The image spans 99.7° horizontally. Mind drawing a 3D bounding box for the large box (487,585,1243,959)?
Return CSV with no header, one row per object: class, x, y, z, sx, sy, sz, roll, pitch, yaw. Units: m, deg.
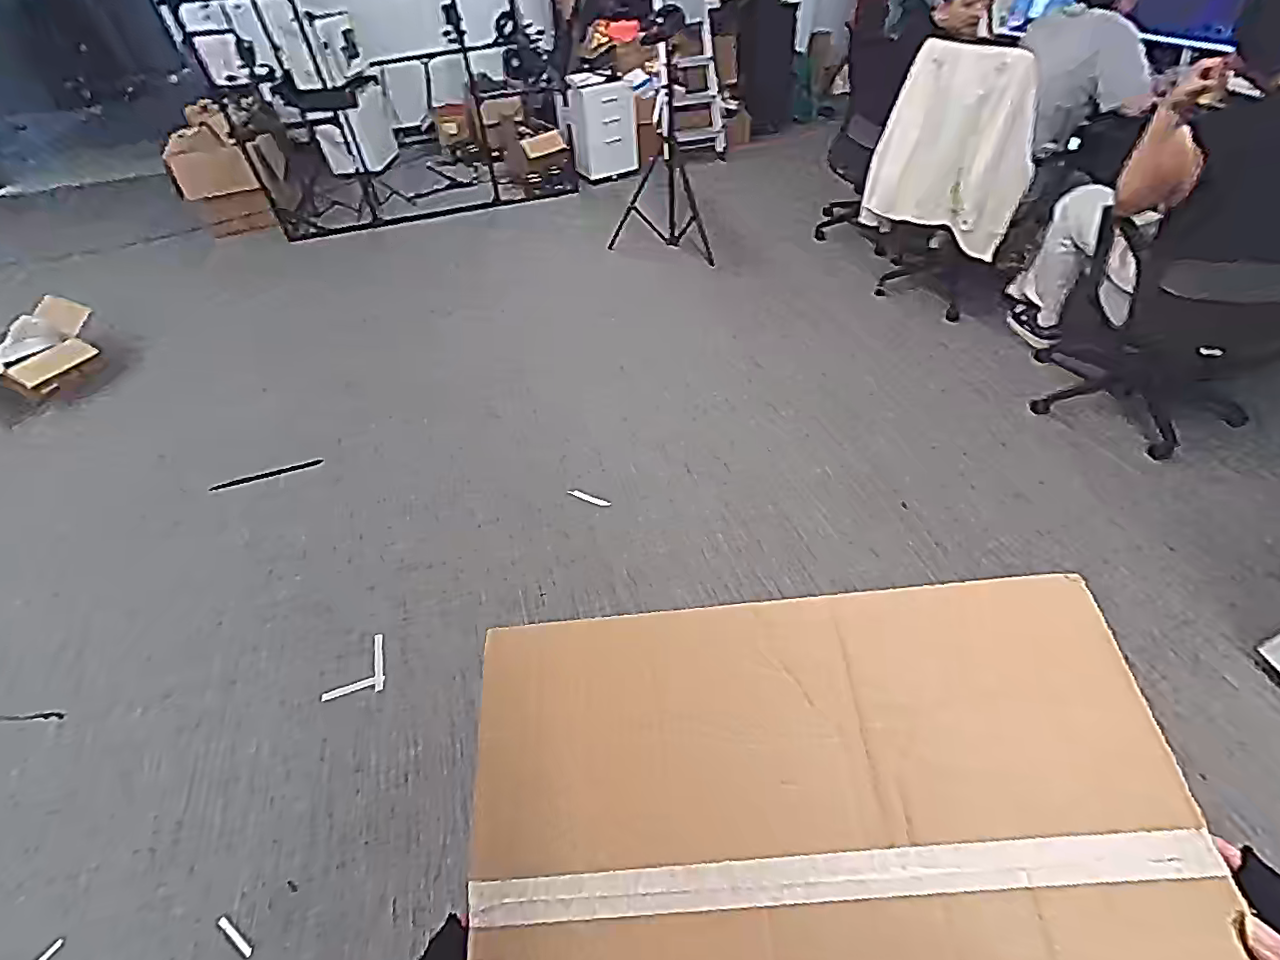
large box,0.121,0.301,0.438,0.408,0.320,0.320,-7,62,3
